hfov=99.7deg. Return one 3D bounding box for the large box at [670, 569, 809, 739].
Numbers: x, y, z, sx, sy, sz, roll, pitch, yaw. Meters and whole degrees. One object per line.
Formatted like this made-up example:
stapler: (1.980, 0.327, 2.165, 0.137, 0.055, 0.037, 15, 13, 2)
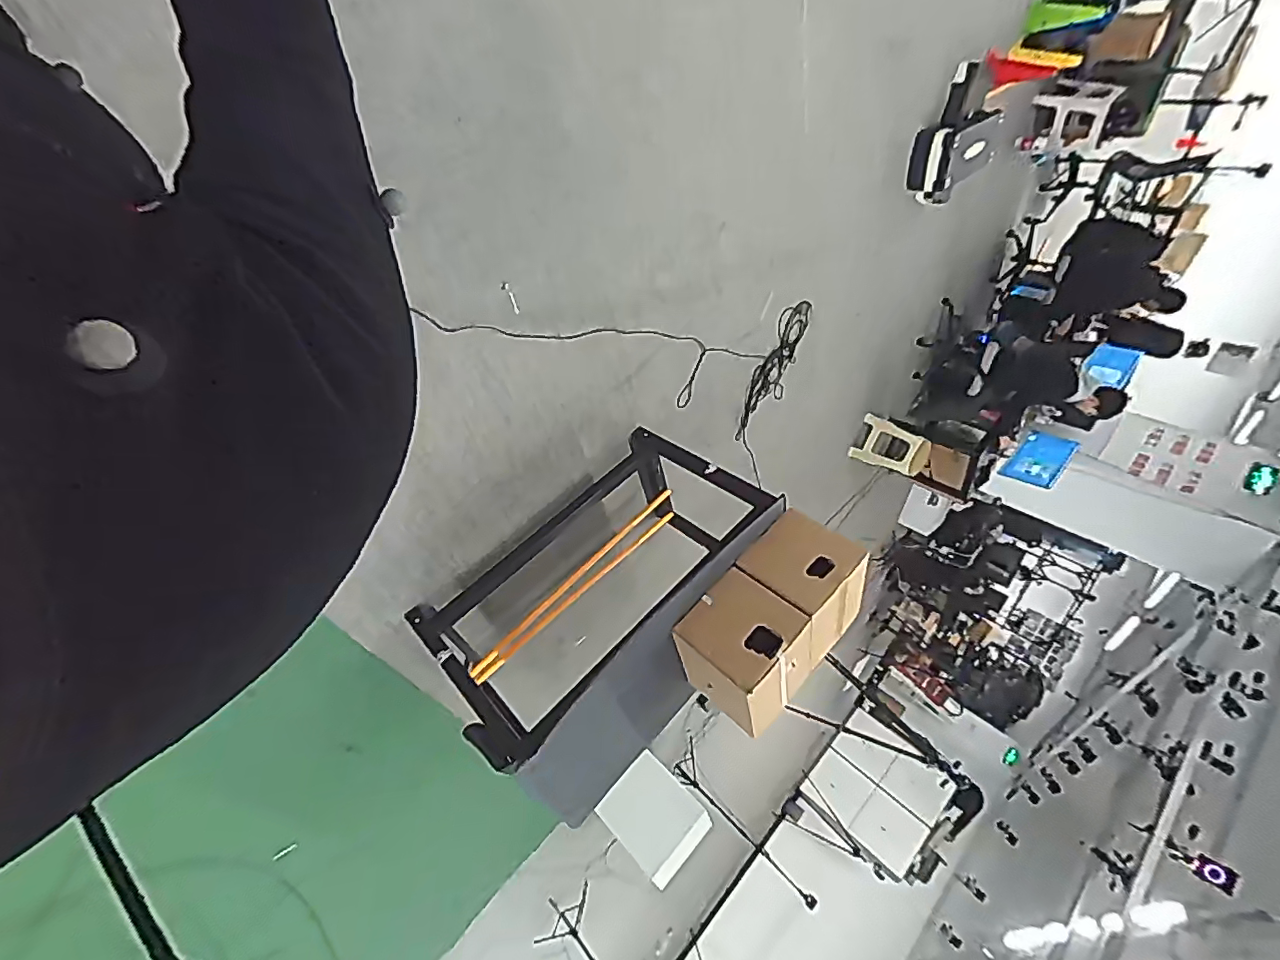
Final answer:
large box: (0.340, 0.576, 1.796, 0.320, 0.320, 0.408, -42, 139, -22)
